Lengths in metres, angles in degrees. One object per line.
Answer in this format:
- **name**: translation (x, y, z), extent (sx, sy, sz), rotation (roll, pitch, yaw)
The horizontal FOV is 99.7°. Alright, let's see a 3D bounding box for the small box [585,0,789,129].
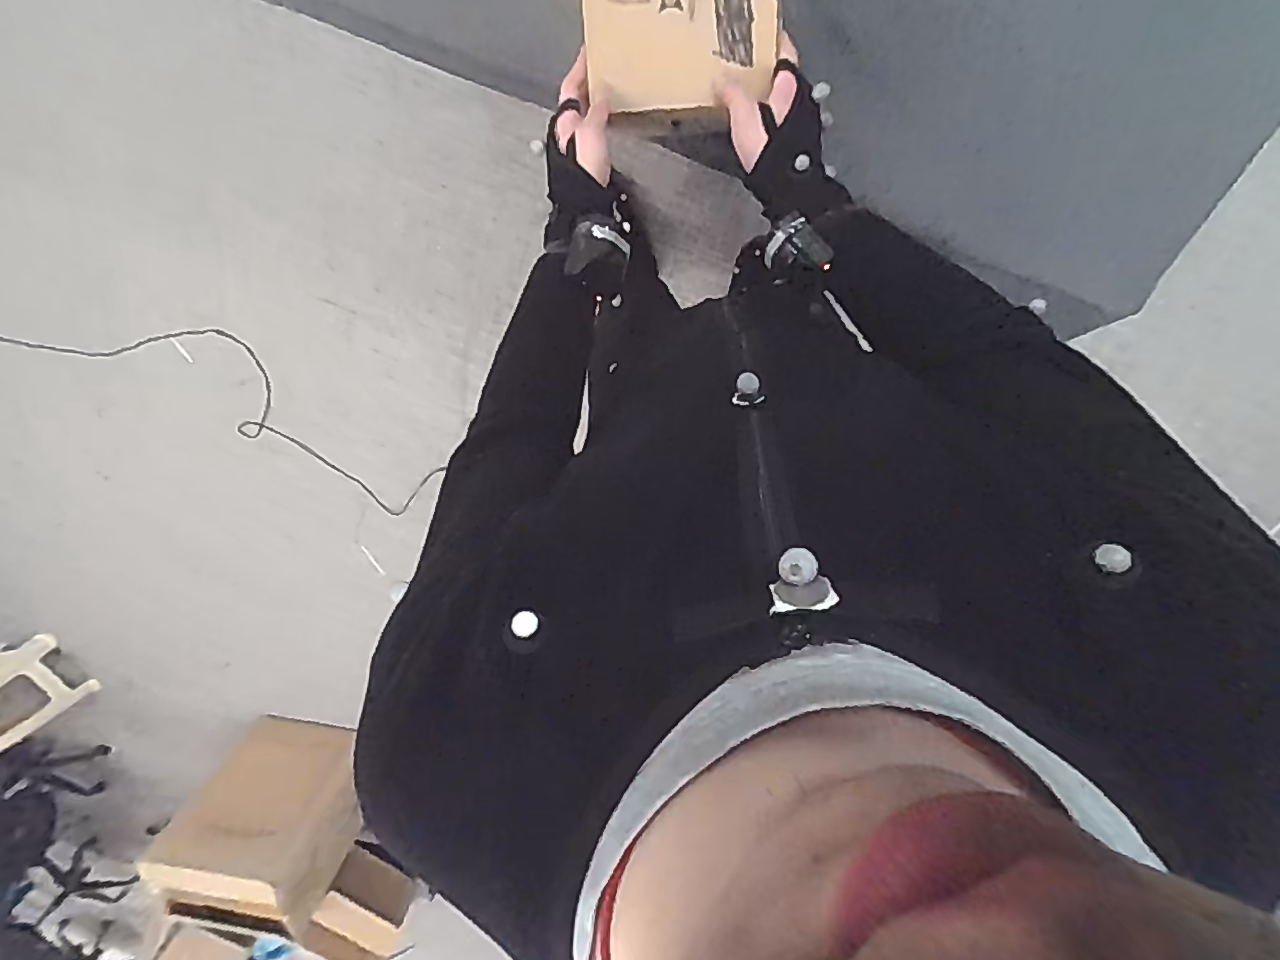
- **small box**: translation (0.044, -0.451, 0.524), extent (0.179, 0.176, 0.168), rotation (1, 115, 5)
